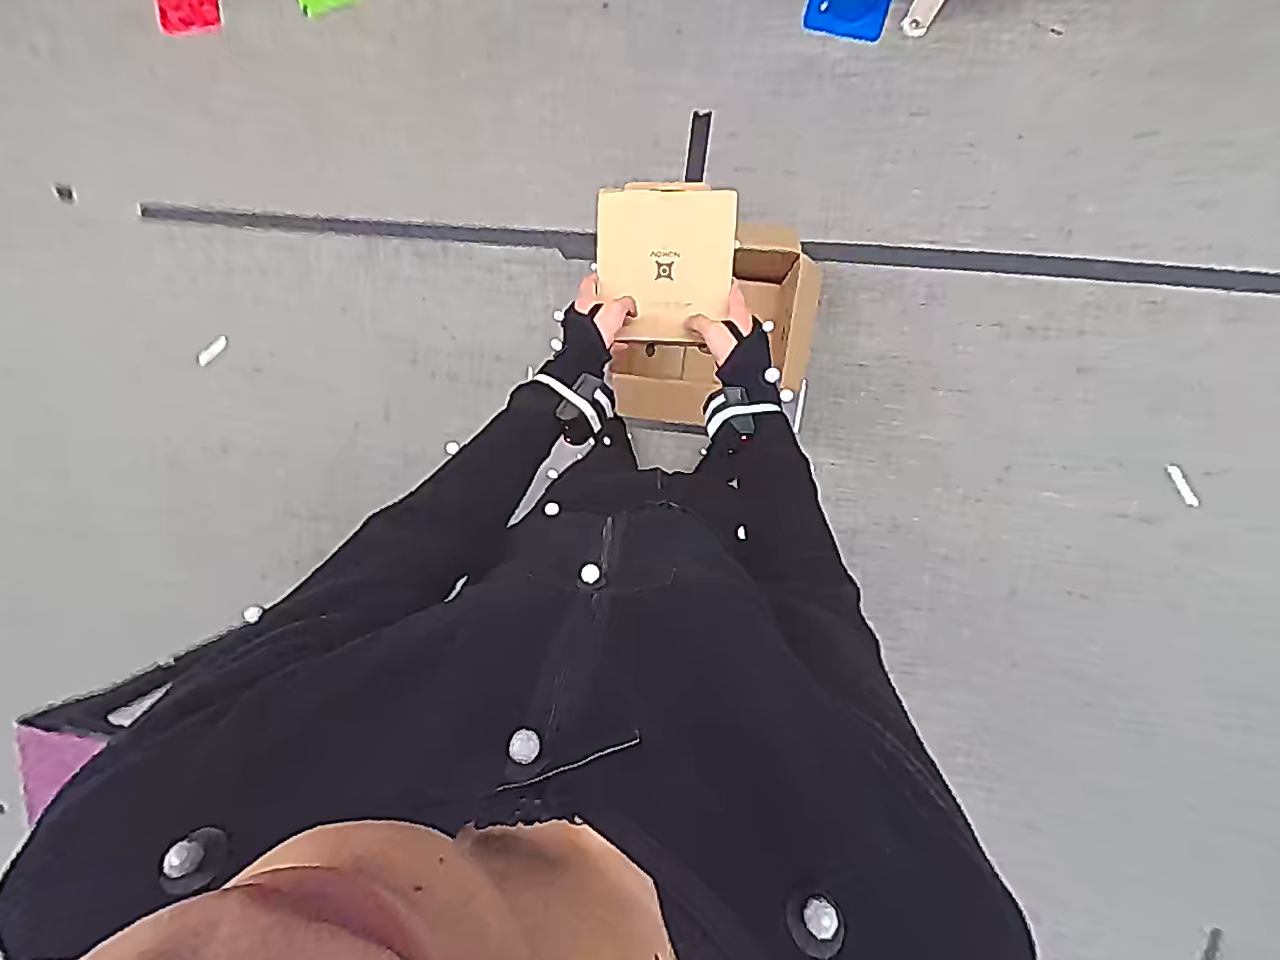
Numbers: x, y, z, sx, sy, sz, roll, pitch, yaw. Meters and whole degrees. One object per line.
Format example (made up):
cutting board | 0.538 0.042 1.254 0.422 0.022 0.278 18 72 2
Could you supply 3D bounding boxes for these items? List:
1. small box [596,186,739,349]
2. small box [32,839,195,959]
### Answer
small box | 0.034 -0.274 0.730 0.168 0.176 0.179 3 102 2
small box | -1.051 0.872 1.100 0.179 0.176 0.168 2 99 8
